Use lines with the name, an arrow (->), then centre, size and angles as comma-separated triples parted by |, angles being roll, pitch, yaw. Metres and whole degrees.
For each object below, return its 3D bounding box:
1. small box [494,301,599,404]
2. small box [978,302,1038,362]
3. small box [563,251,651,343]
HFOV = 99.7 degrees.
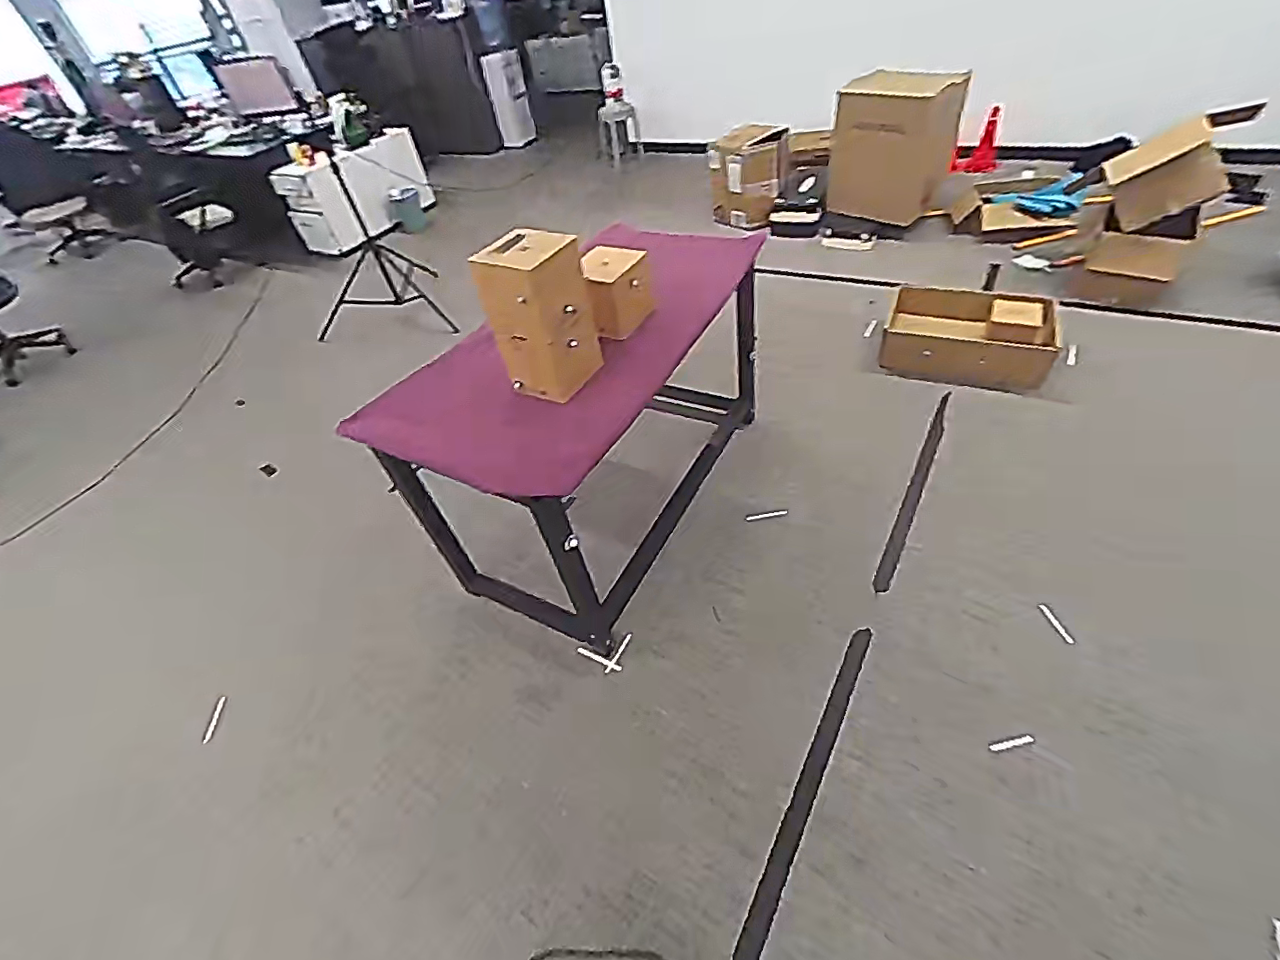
small box -> -0.217, -0.309, 1.316 | 0.168, 0.176, 0.179 | 18, 51, 26
small box -> 1.505, -0.606, 2.214 | 0.168, 0.176, 0.179 | 15, 50, 24
small box -> -0.082, -0.501, 1.479 | 0.168, 0.176, 0.179 | 18, 53, 26
